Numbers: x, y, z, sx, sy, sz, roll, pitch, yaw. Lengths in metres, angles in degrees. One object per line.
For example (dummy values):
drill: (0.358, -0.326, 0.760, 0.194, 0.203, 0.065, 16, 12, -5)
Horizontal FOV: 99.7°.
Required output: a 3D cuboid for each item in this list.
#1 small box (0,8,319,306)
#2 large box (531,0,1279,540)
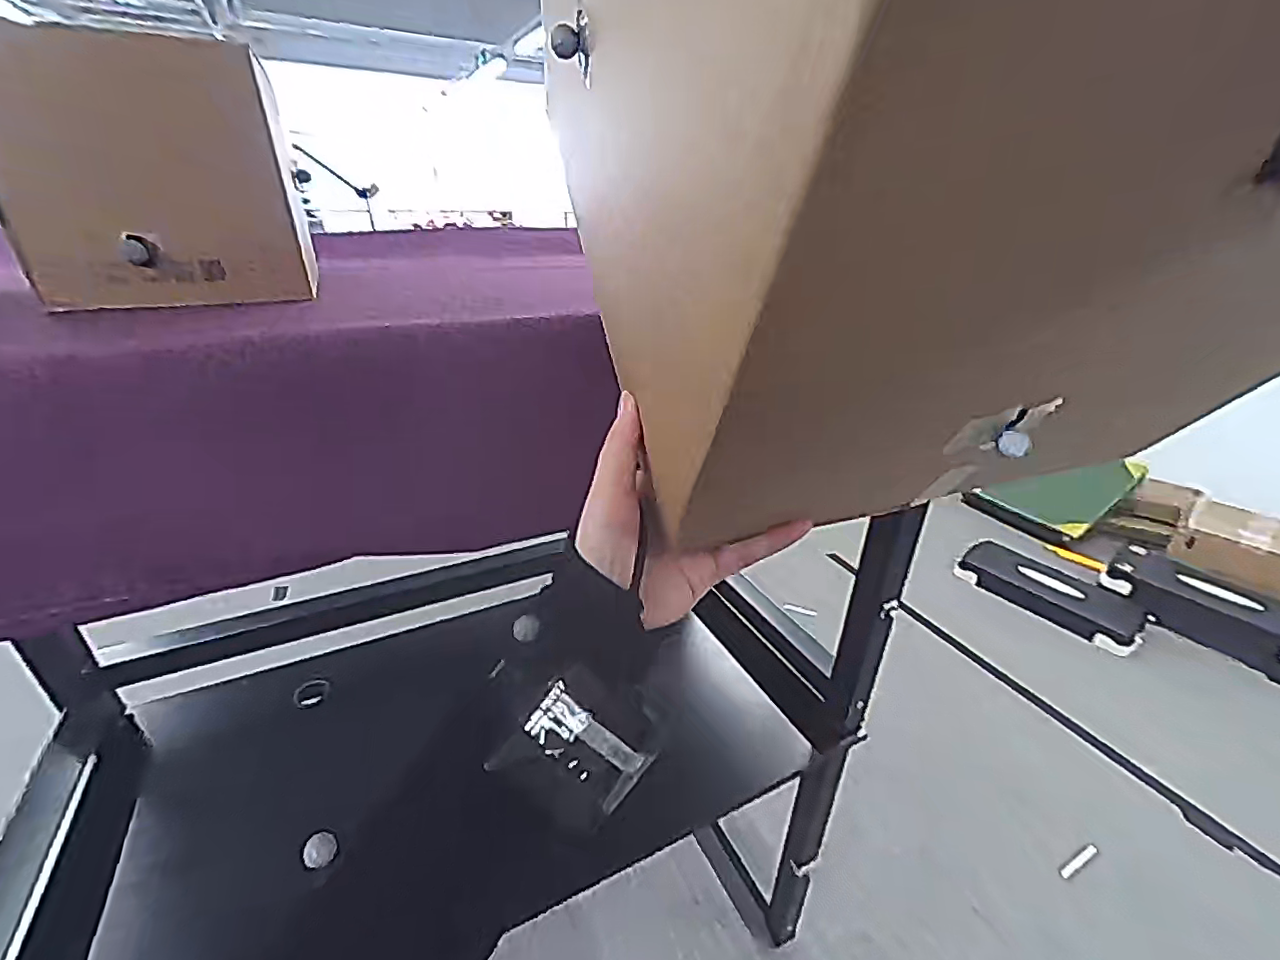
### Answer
small box: (-0.369, -0.238, 0.427, 0.168, 0.176, 0.179, -13, 31, -23)
large box: (0.121, -0.234, 0.268, 0.320, 0.320, 0.408, -11, 63, -11)
